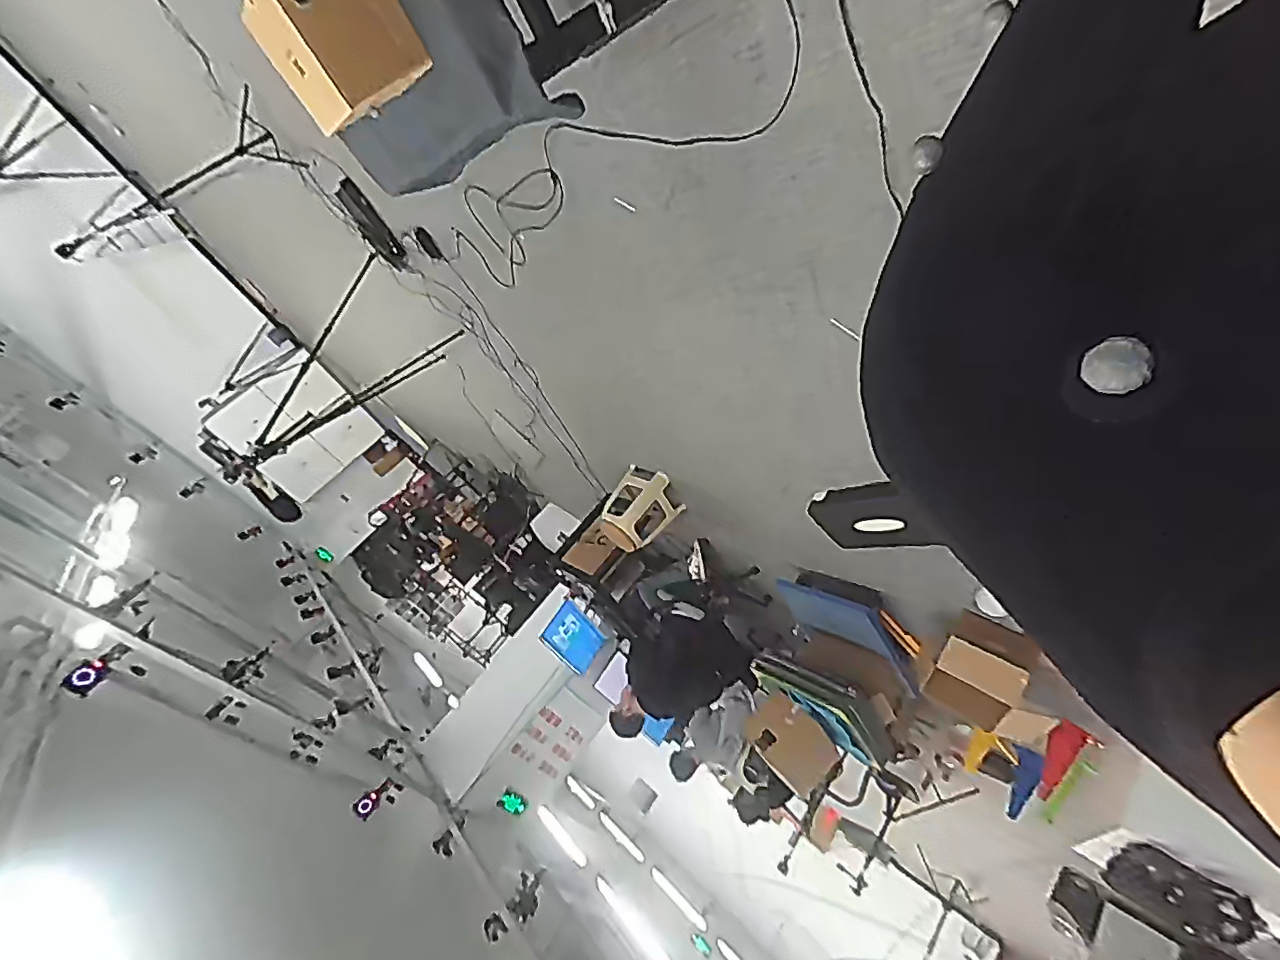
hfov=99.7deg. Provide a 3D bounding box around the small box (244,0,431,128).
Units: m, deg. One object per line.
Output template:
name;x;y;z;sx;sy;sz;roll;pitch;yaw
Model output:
small box;-0.465;-0.699;0.845;0.168;0.176;0.179;19;150;46
